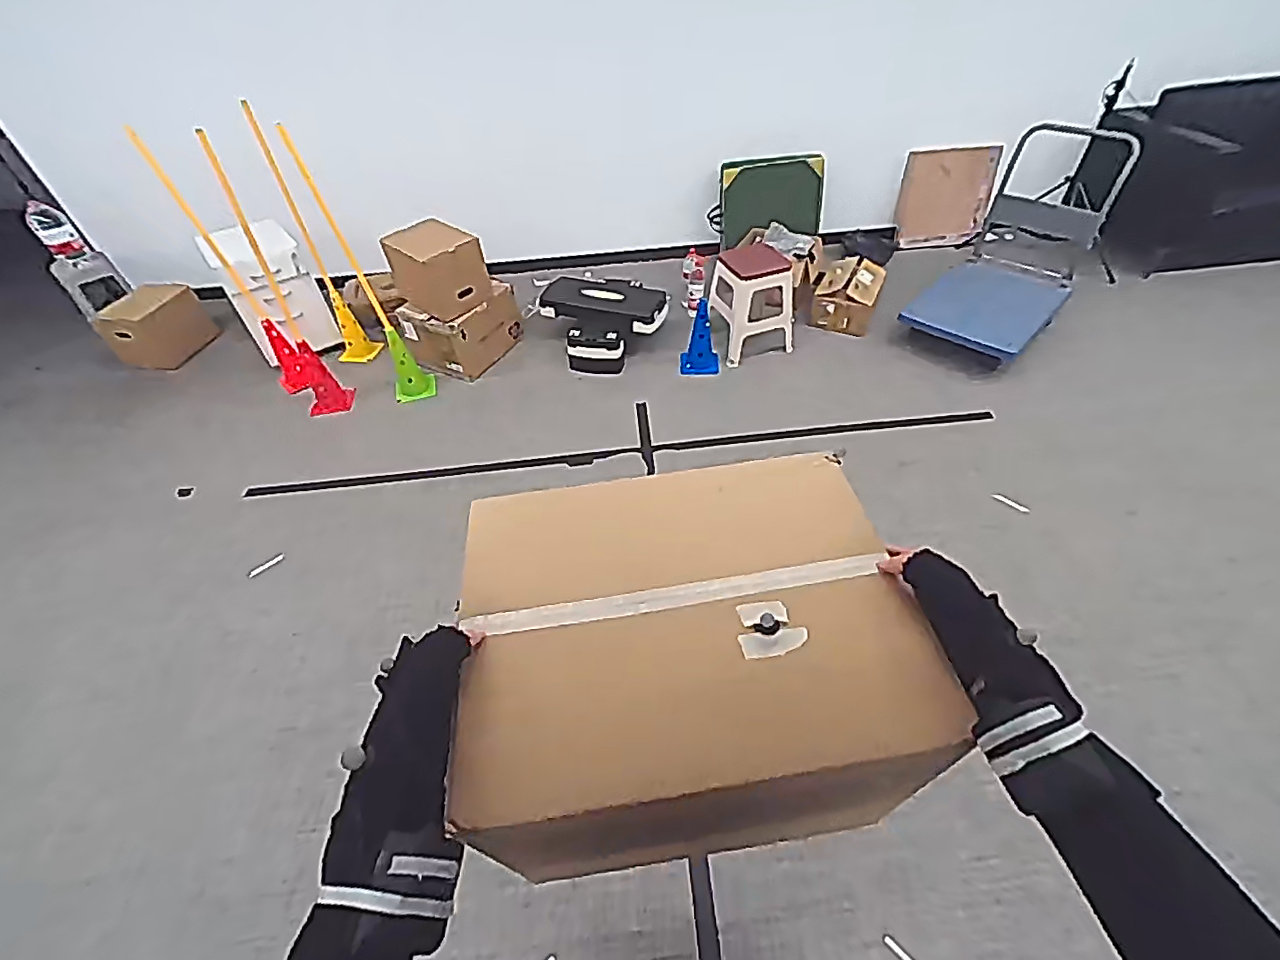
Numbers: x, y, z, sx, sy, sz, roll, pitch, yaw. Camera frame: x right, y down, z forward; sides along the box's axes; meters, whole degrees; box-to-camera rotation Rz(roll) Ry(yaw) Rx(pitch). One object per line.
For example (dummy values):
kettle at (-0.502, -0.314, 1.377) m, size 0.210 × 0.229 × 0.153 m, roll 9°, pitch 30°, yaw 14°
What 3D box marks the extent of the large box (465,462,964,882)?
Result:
large box at (0.047, 0.218, 0.621) m, size 0.408 × 0.320 × 0.320 m, roll -8°, pitch 48°, yaw -4°
